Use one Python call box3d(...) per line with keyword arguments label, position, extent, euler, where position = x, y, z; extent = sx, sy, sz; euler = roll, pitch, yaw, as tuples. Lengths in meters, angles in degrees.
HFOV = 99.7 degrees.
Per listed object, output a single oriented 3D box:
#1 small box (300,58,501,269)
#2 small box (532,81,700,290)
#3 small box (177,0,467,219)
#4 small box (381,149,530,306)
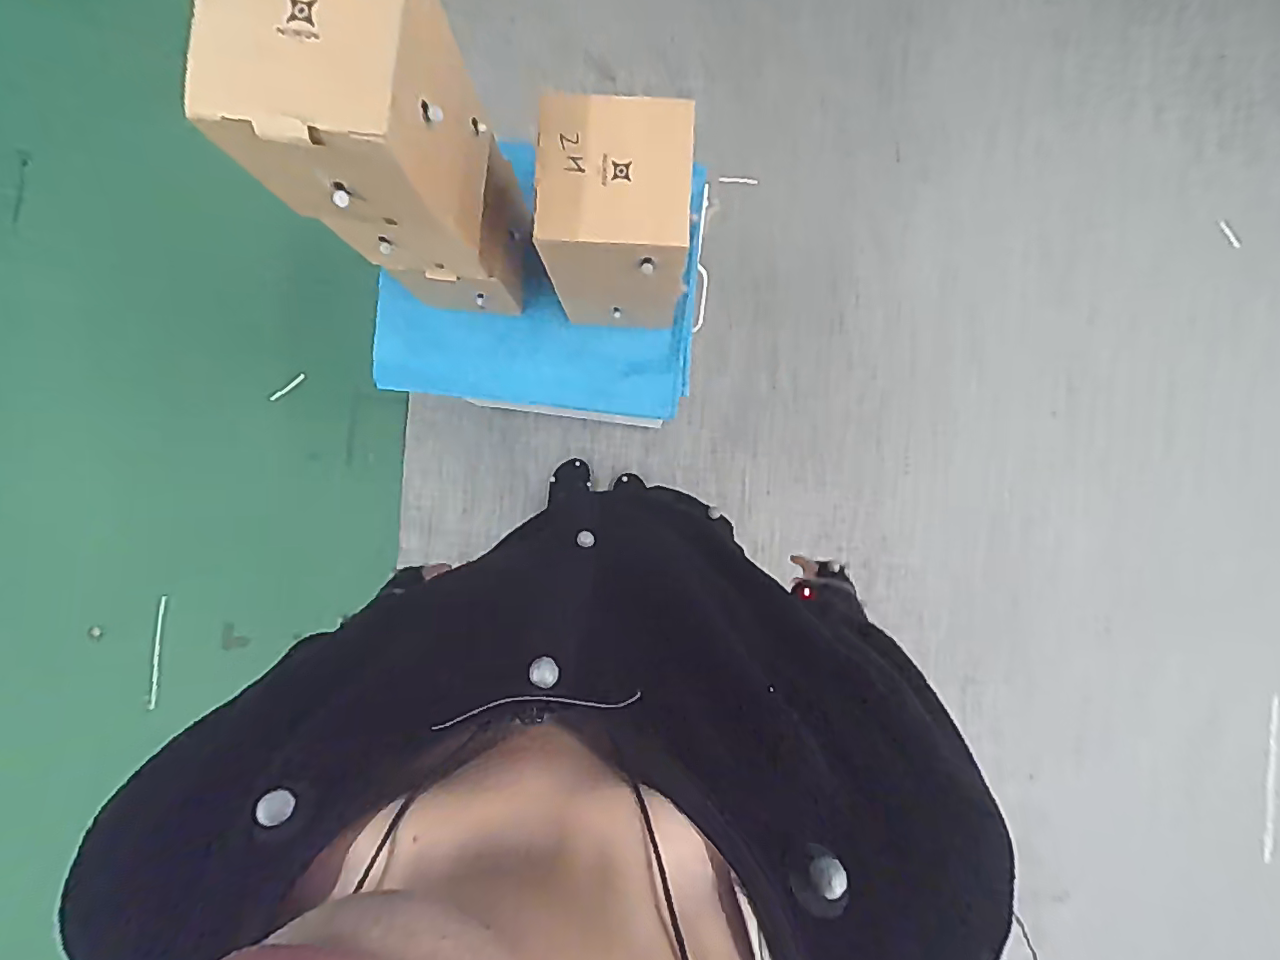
box3d(label="small box", position=(-0.280, -0.384, 0.669), extent=(0.168, 0.176, 0.179), euler=(8, 89, -1))
box3d(label="small box", position=(-0.026, -0.345, 0.667), extent=(0.179, 0.176, 0.168), euler=(4, 89, 1))
box3d(label="small box", position=(-0.273, -0.373, 0.505), extent=(0.168, 0.176, 0.179), euler=(8, 90, -2))
box3d(label="small box", position=(-0.271, -0.383, 0.831), extent=(0.168, 0.176, 0.179), euler=(7, 90, -2))
